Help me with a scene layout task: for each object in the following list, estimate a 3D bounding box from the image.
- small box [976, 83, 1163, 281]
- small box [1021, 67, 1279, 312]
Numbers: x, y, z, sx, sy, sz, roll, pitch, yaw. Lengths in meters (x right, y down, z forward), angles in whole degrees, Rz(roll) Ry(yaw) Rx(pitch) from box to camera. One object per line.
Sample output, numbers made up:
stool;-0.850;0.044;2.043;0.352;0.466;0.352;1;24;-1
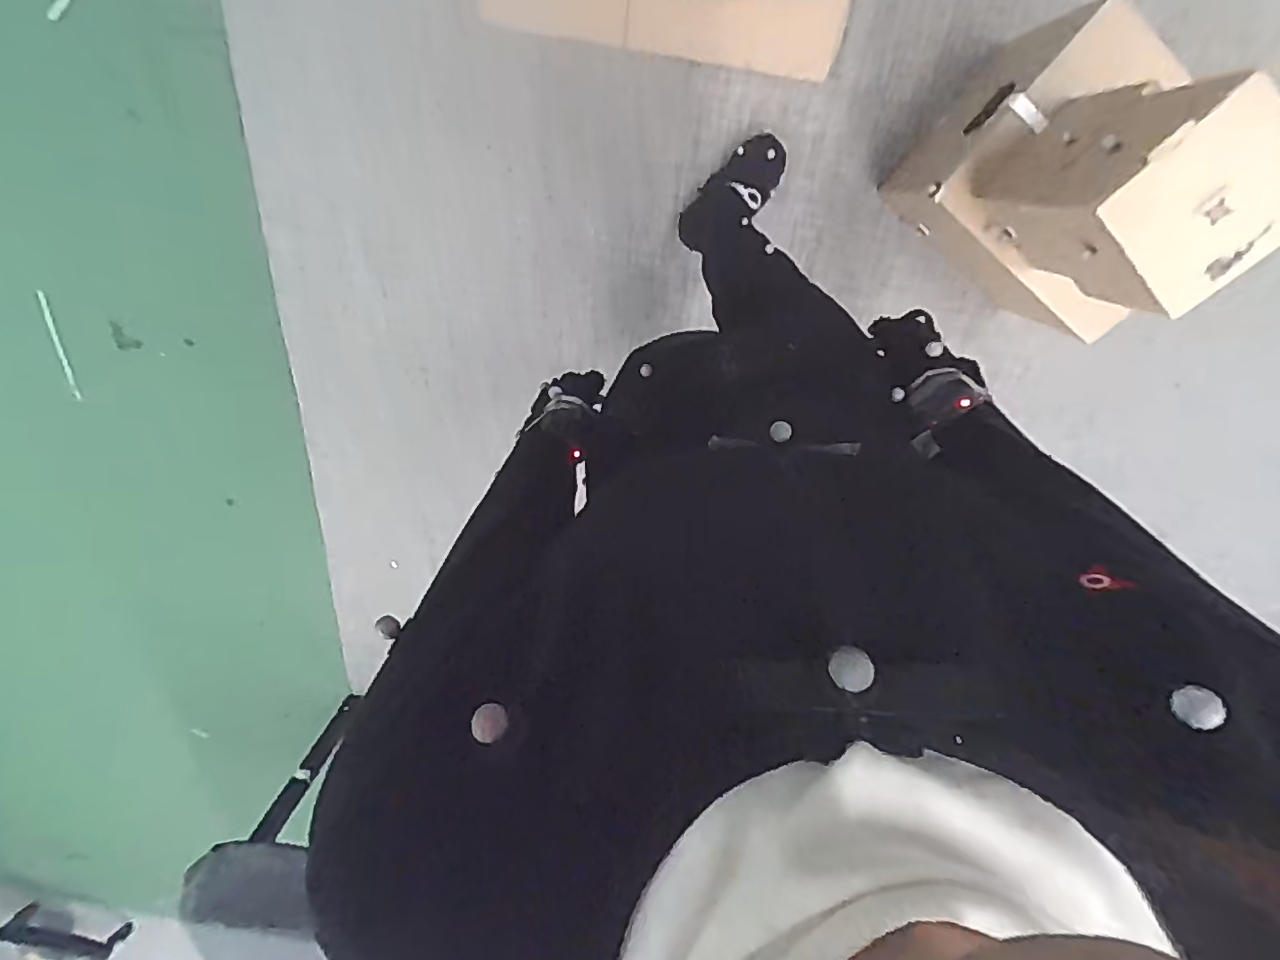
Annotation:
small box;0.635;-0.415;0.774;0.168;0.176;0.179;38;117;-11
small box;0.609;-0.328;0.640;0.179;0.176;0.168;38;114;-12
